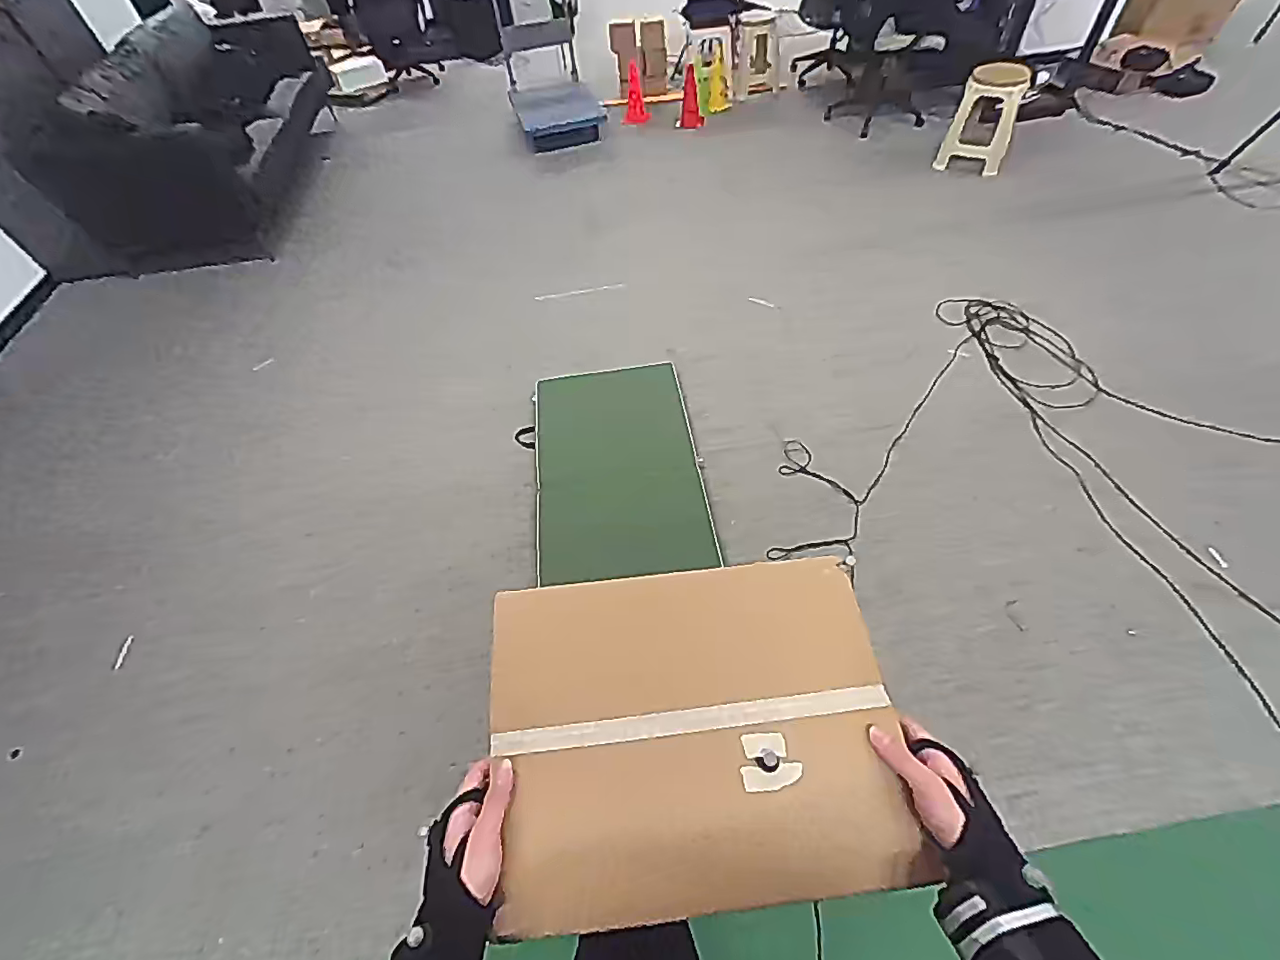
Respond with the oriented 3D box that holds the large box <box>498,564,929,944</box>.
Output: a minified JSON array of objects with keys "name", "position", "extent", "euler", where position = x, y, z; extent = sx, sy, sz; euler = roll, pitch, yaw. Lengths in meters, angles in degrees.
[{"name":"large box","position":[0.052,0.329,0.686],"extent":[0.408,0.320,0.320],"euler":[-6,60,-3]}]
